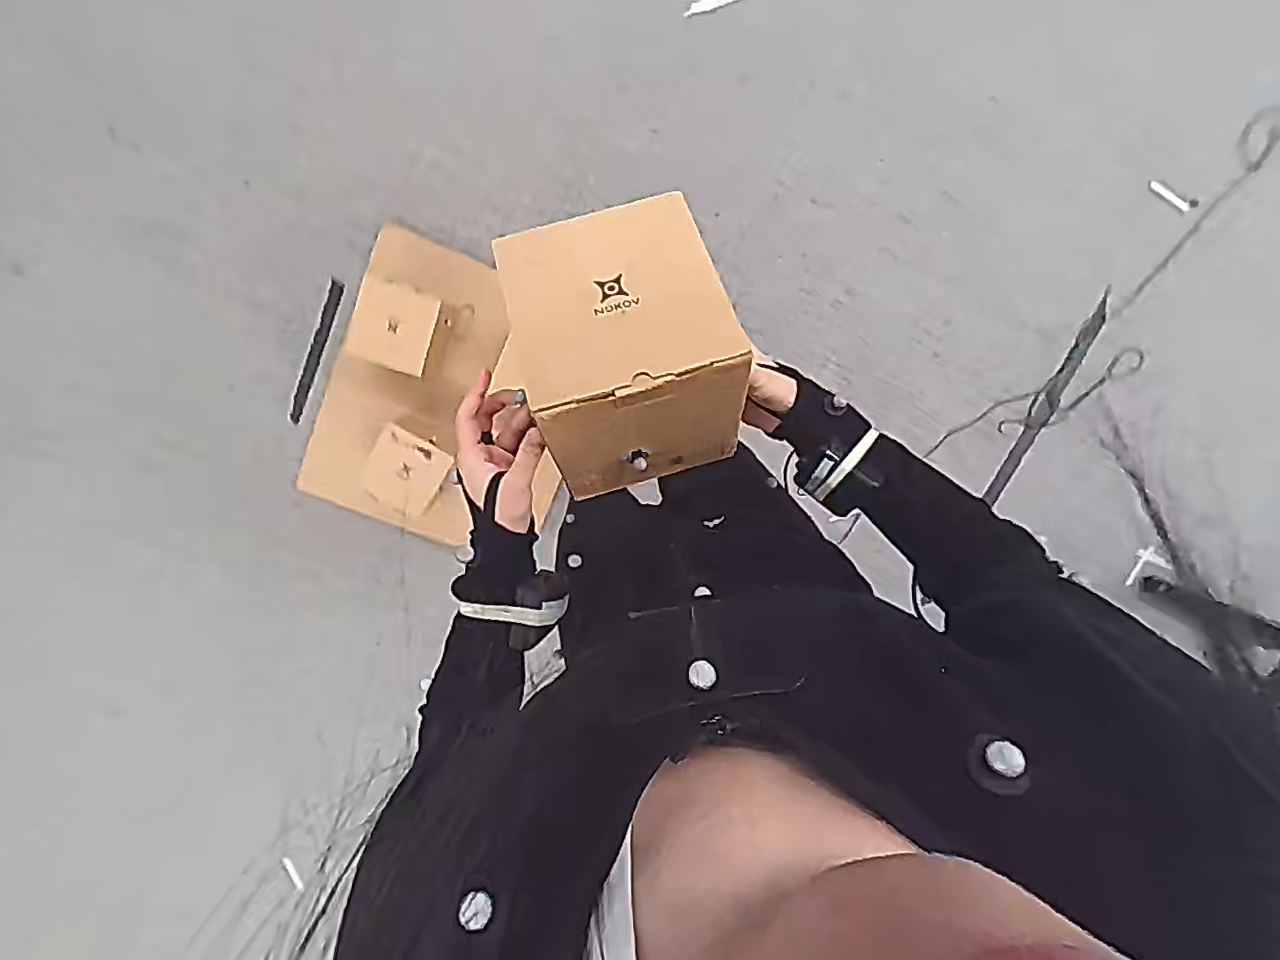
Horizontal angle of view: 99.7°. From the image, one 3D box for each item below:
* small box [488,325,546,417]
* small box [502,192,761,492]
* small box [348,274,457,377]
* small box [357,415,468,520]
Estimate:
[{"bbox_3d":[-0.241,-0.254,1.290,0.179,0.176,0.168,22,100,-12],"label":"small box"},{"bbox_3d":[-0.010,-0.112,0.484,0.168,0.176,0.179,-15,69,-3],"label":"small box"},{"bbox_3d":[-0.531,-0.345,1.235,0.168,0.176,0.179,17,100,-9],"label":"small box"},{"bbox_3d":[-0.536,-0.037,1.302,0.168,0.176,0.179,31,99,-13],"label":"small box"}]
